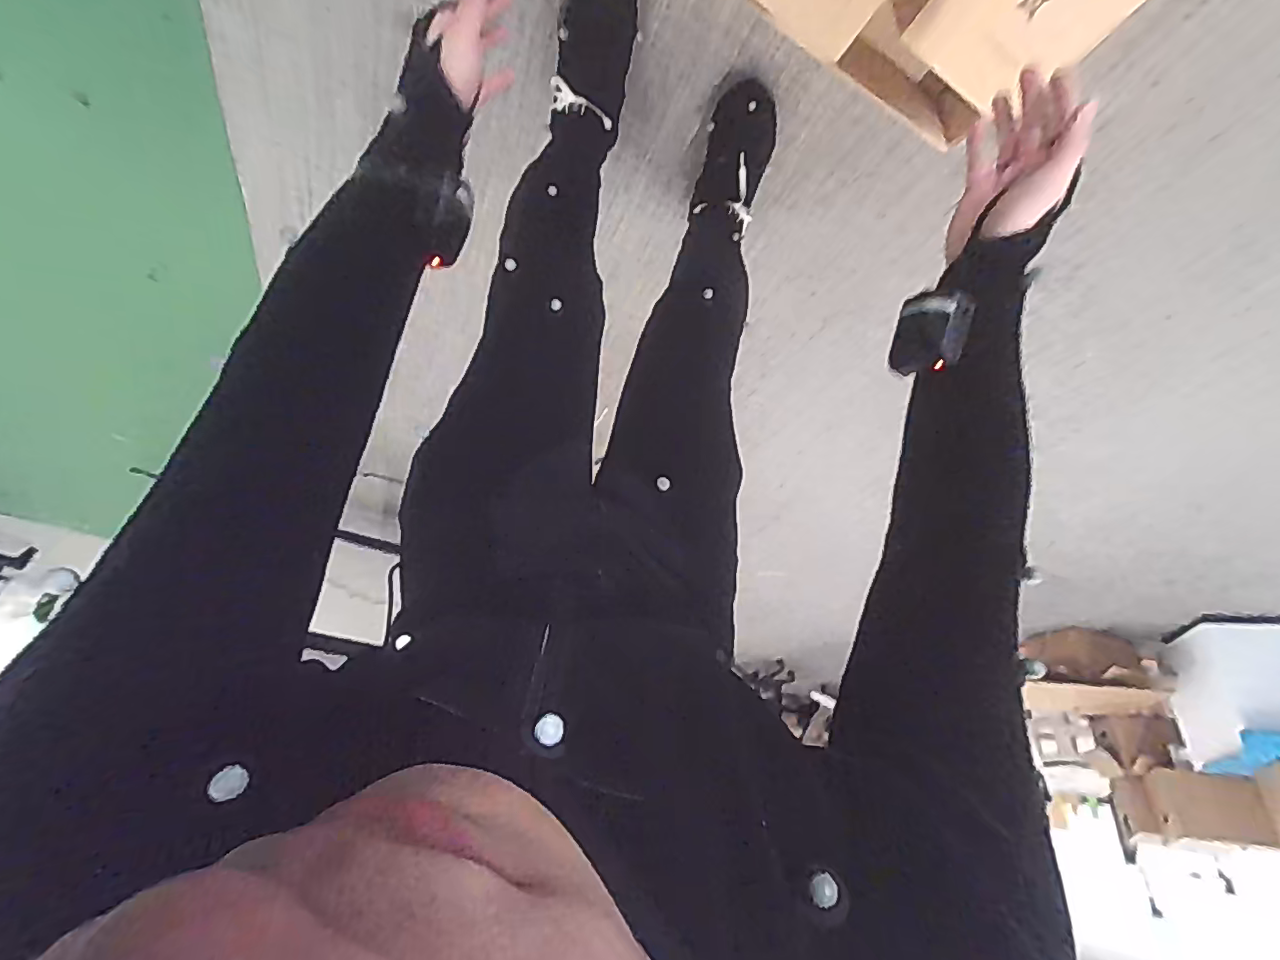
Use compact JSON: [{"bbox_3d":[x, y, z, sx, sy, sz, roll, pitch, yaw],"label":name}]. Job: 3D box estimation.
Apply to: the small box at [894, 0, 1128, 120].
[{"bbox_3d":[0.381,-0.535,0.554,0.168,0.176,0.179,22,147,-21],"label":"small box"}]
